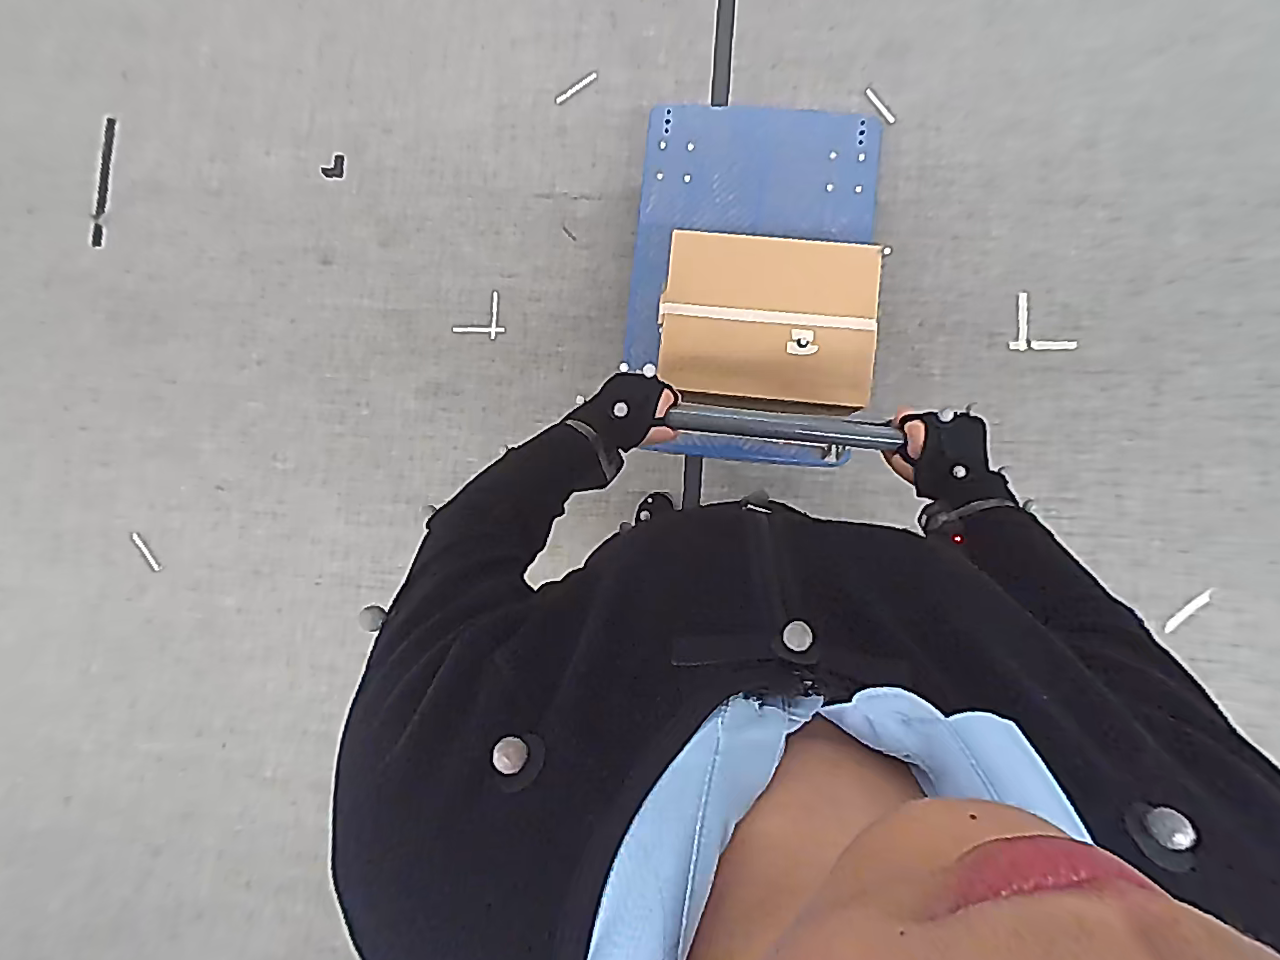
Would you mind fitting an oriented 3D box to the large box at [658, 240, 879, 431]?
[{"bbox_3d":[0.250,-0.293,1.185,0.408,0.320,0.320,6,89,3],"label":"large box"}]
